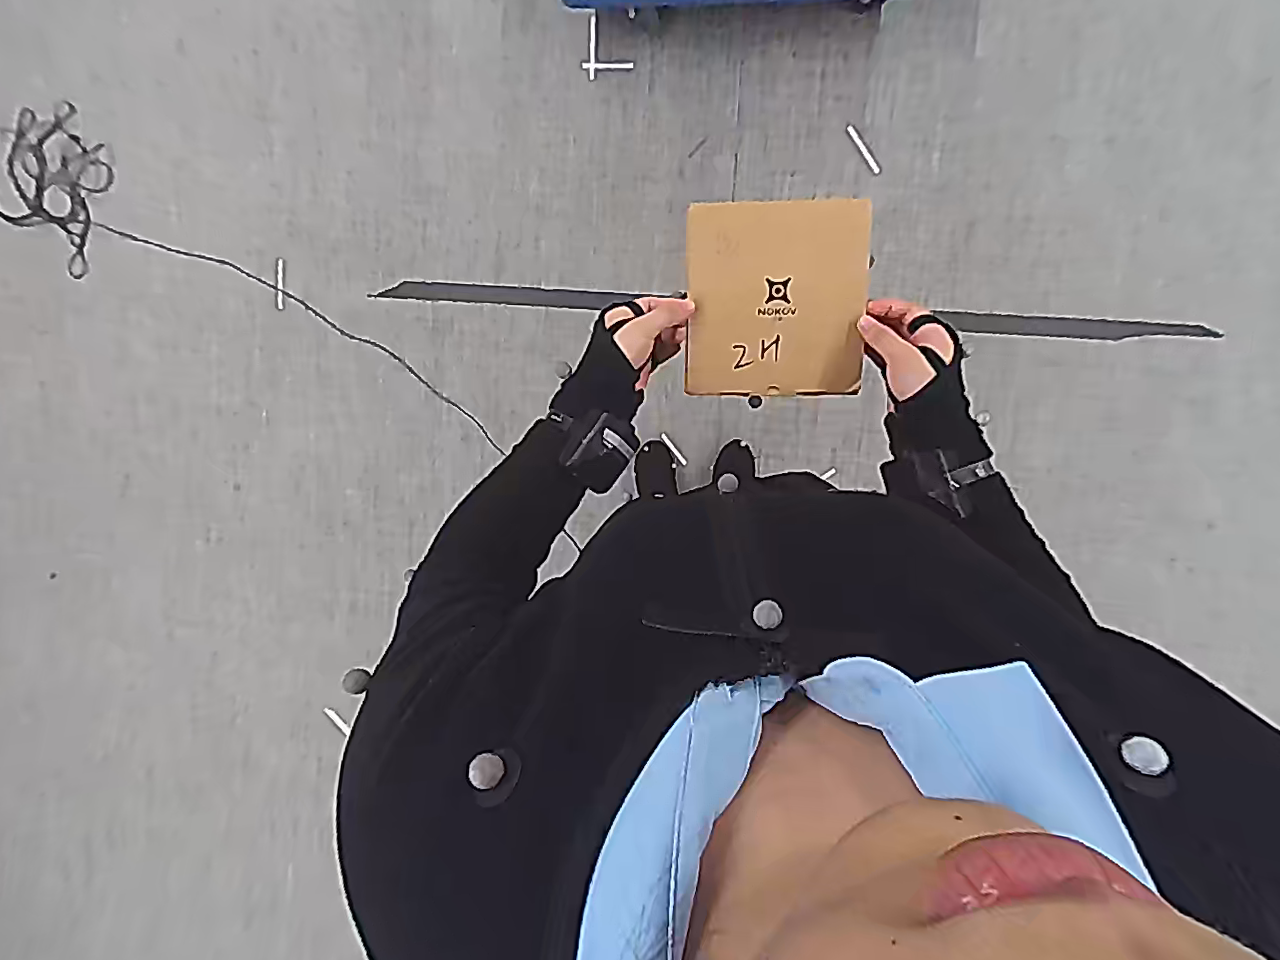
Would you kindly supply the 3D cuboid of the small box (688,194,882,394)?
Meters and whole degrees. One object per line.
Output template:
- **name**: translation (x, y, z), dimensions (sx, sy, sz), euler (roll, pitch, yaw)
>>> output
- **small box**: translation (0.137, -0.182, 0.574), dimensions (0.168, 0.176, 0.179), euler (1, 100, 4)
